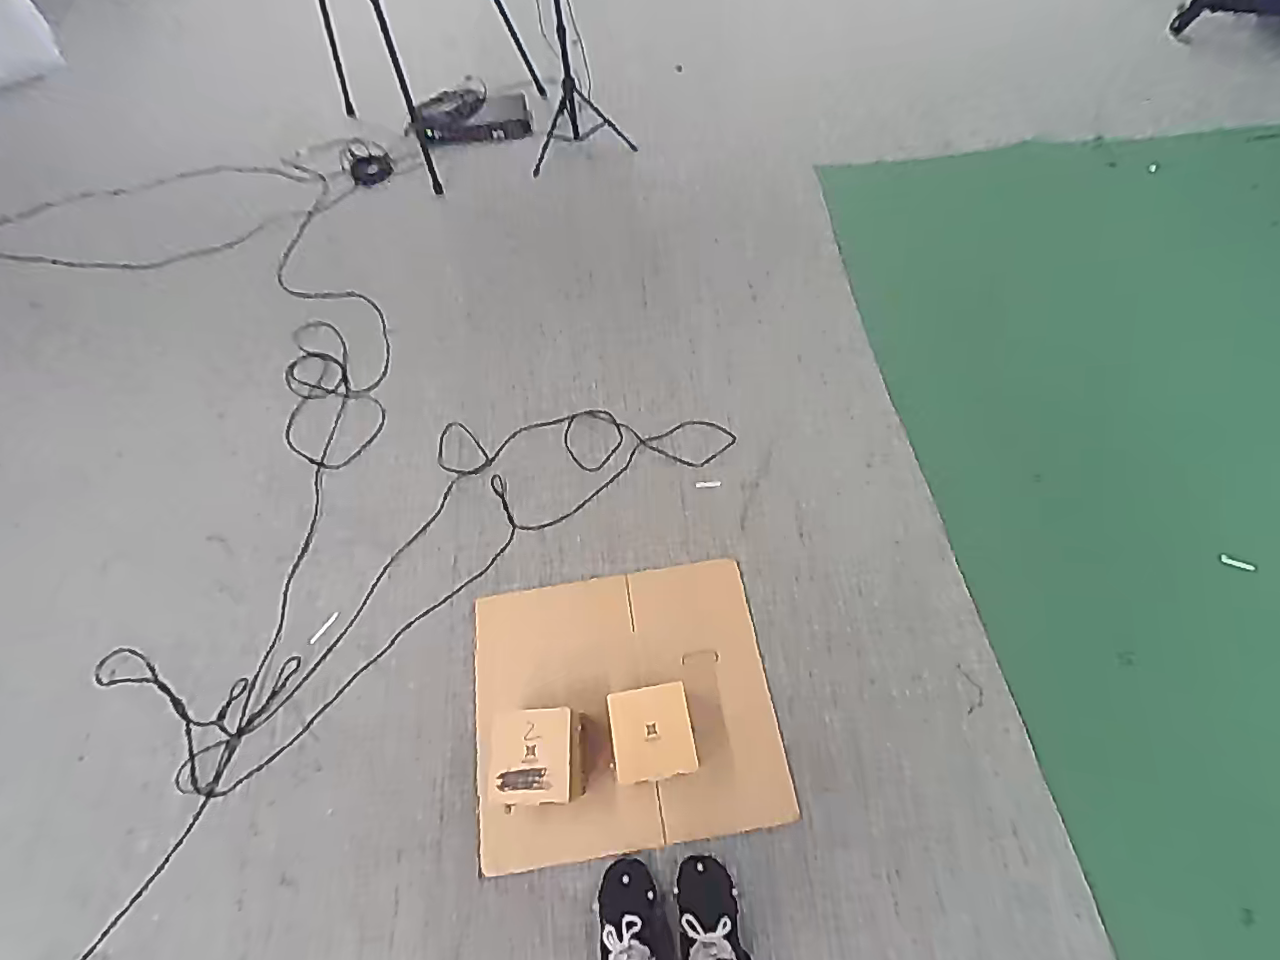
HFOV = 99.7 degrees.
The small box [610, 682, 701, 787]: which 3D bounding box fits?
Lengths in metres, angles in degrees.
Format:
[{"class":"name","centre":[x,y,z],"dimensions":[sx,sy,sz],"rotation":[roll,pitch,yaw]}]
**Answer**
[{"class":"small box","centre":[0.030,0.556,1.179],"dimensions":[0.168,0.176,0.179],"rotation":[-10,63,-3]}]
